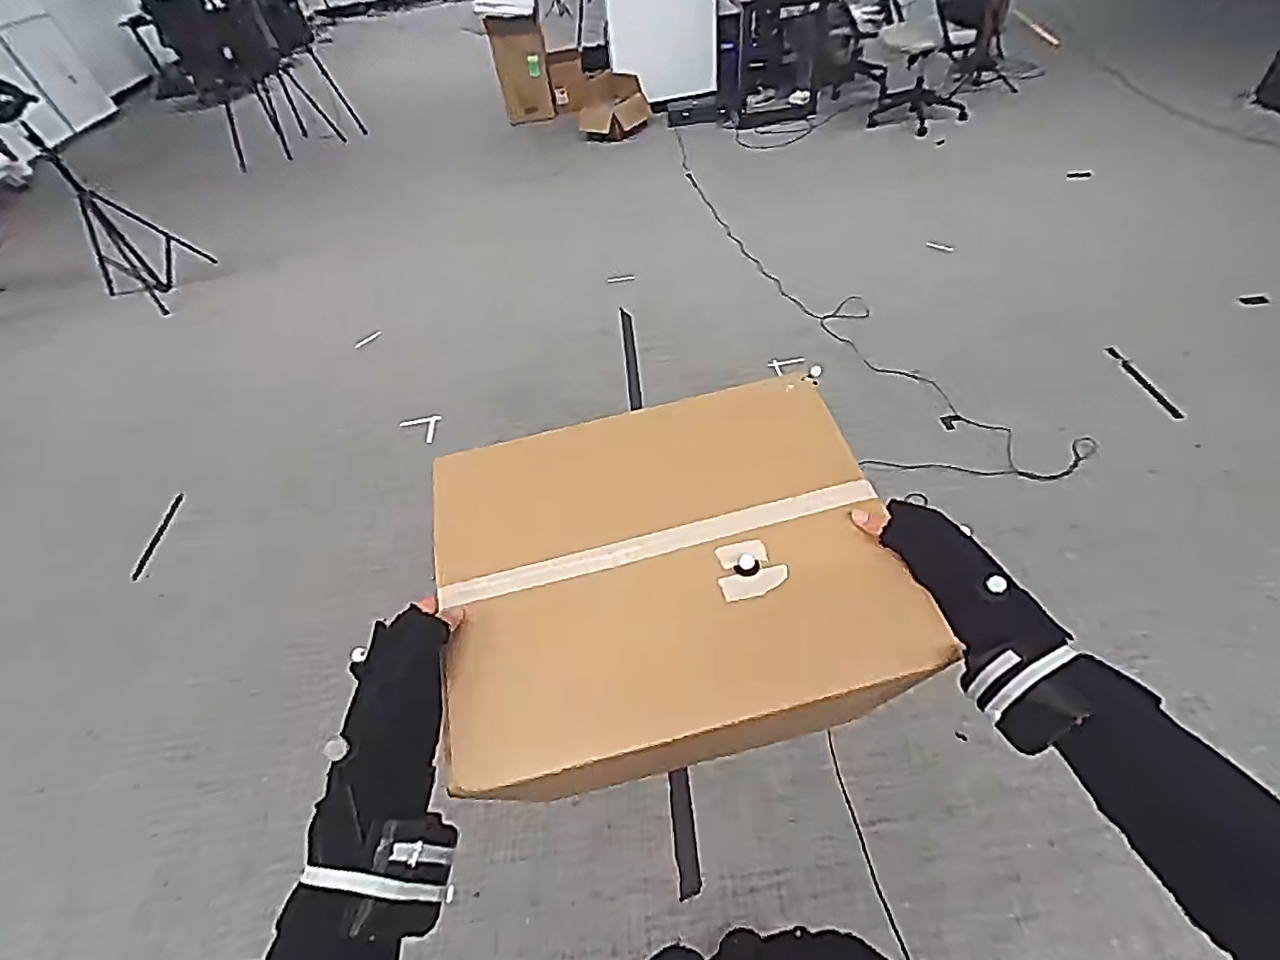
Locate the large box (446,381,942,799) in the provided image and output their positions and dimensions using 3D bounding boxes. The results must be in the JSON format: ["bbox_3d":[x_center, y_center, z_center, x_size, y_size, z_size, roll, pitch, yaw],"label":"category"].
[{"bbox_3d":[0.032,0.141,0.628,0.408,0.320,0.320,-14,58,-3],"label":"large box"}]
